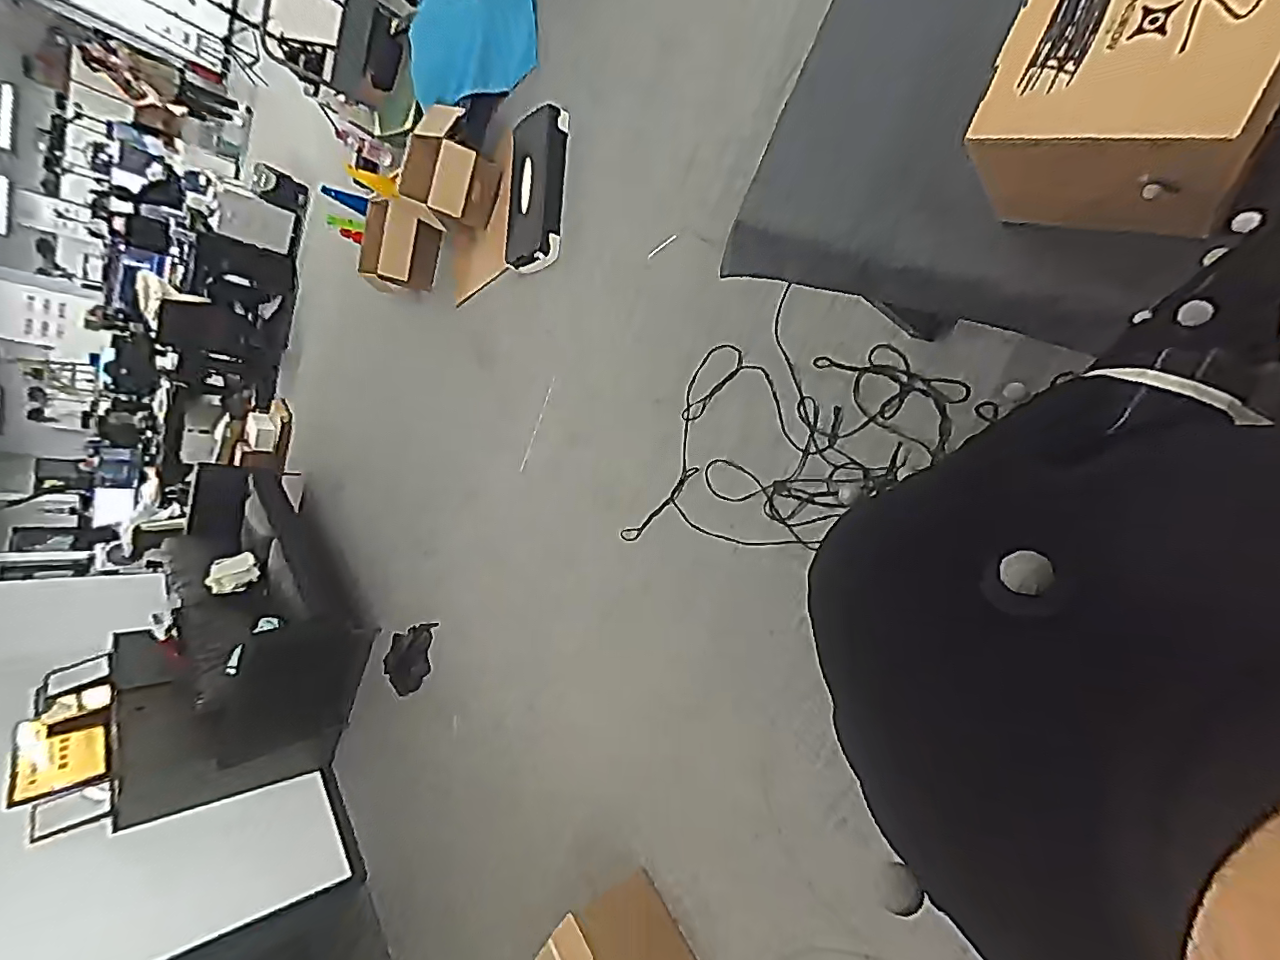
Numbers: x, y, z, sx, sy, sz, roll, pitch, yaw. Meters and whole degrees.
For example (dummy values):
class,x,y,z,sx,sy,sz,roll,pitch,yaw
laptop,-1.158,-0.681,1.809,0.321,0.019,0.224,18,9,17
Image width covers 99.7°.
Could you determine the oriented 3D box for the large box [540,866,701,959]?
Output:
class,x,y,z,sx,sy,sz,roll,pitch,yaw
large box,-0.037,1.515,1.643,0.408,0.320,0.320,45,116,37
